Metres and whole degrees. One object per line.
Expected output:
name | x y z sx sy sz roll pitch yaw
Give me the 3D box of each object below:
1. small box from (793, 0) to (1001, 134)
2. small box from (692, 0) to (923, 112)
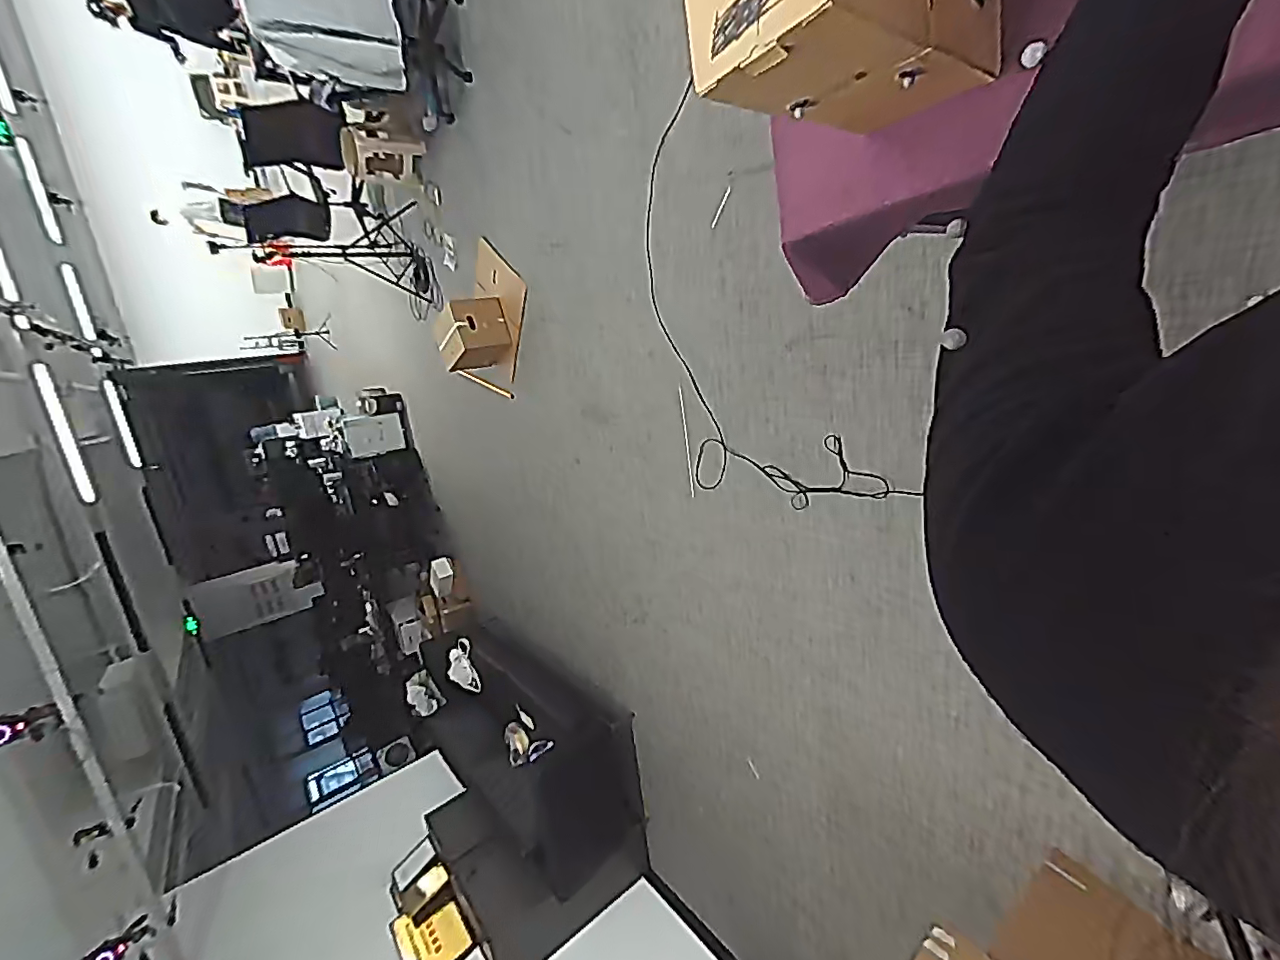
small box | 0.301 -0.542 0.646 0.179 0.176 0.168 8 110 52
small box | 0.170 -0.508 0.553 0.168 0.176 0.179 7 108 52
